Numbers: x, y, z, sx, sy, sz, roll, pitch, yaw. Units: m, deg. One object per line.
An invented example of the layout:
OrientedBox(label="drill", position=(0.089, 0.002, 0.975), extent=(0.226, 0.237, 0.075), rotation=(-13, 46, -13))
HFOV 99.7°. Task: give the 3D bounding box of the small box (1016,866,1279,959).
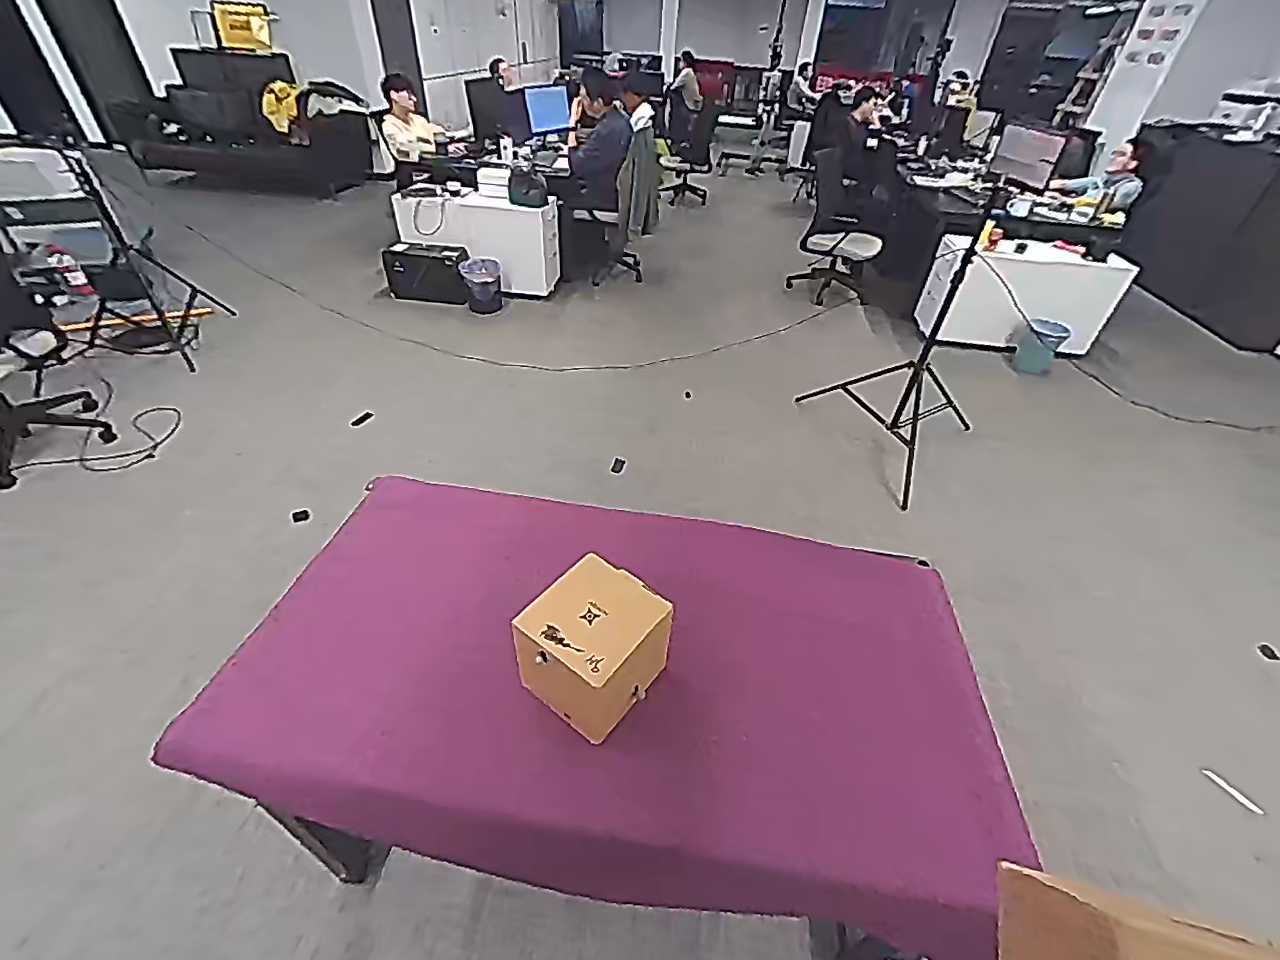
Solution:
OrientedBox(label="small box", position=(0.316, 0.329, 0.279), extent=(0.168, 0.179, 0.176), rotation=(7, 66, 18))

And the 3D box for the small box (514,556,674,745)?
OrientedBox(label="small box", position=(-0.071, 0.256, 0.827), extent=(0.168, 0.176, 0.179), rotation=(27, 44, 26))
